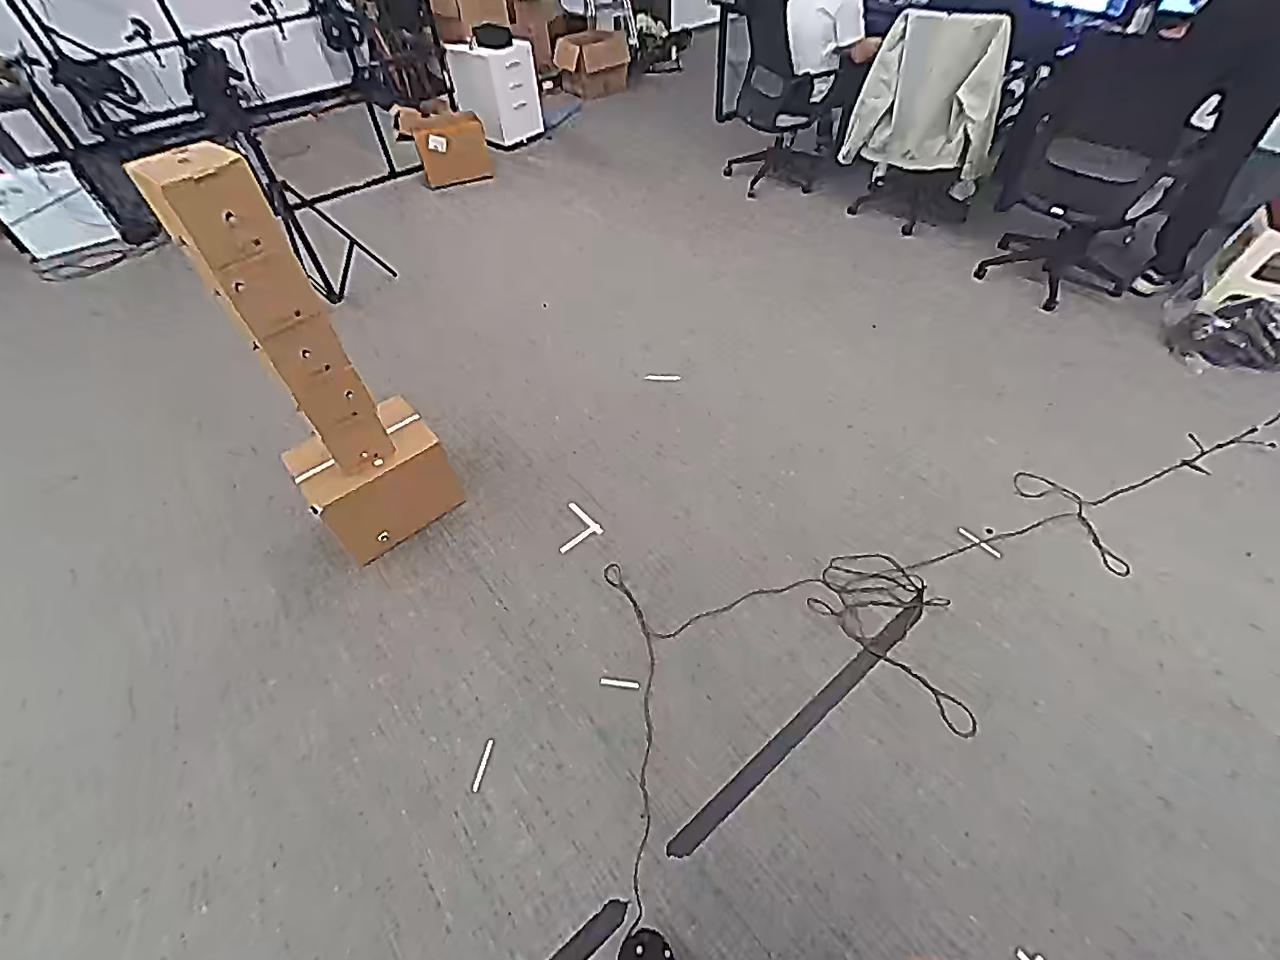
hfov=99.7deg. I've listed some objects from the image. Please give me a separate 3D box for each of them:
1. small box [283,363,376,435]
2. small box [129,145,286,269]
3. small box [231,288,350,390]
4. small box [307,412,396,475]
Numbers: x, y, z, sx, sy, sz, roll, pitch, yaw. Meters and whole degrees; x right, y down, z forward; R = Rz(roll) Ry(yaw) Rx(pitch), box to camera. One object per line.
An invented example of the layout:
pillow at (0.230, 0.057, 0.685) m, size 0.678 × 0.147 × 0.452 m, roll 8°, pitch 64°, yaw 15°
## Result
small box at (-0.873, -0.250, 1.509) m, size 0.168 × 0.176 × 0.179 m, roll -37°, pitch 57°, yaw -26°
small box at (-0.891, -0.566, 1.132) m, size 0.179 × 0.176 × 0.168 m, roll 31°, pitch 57°, yaw 24°
small box at (-0.884, -0.356, 1.384) m, size 0.179 × 0.176 × 0.168 m, roll 34°, pitch 58°, yaw 27°
small box at (-0.875, -0.146, 1.634) m, size 0.168 × 0.176 × 0.179 m, roll -36°, pitch 58°, yaw -24°
